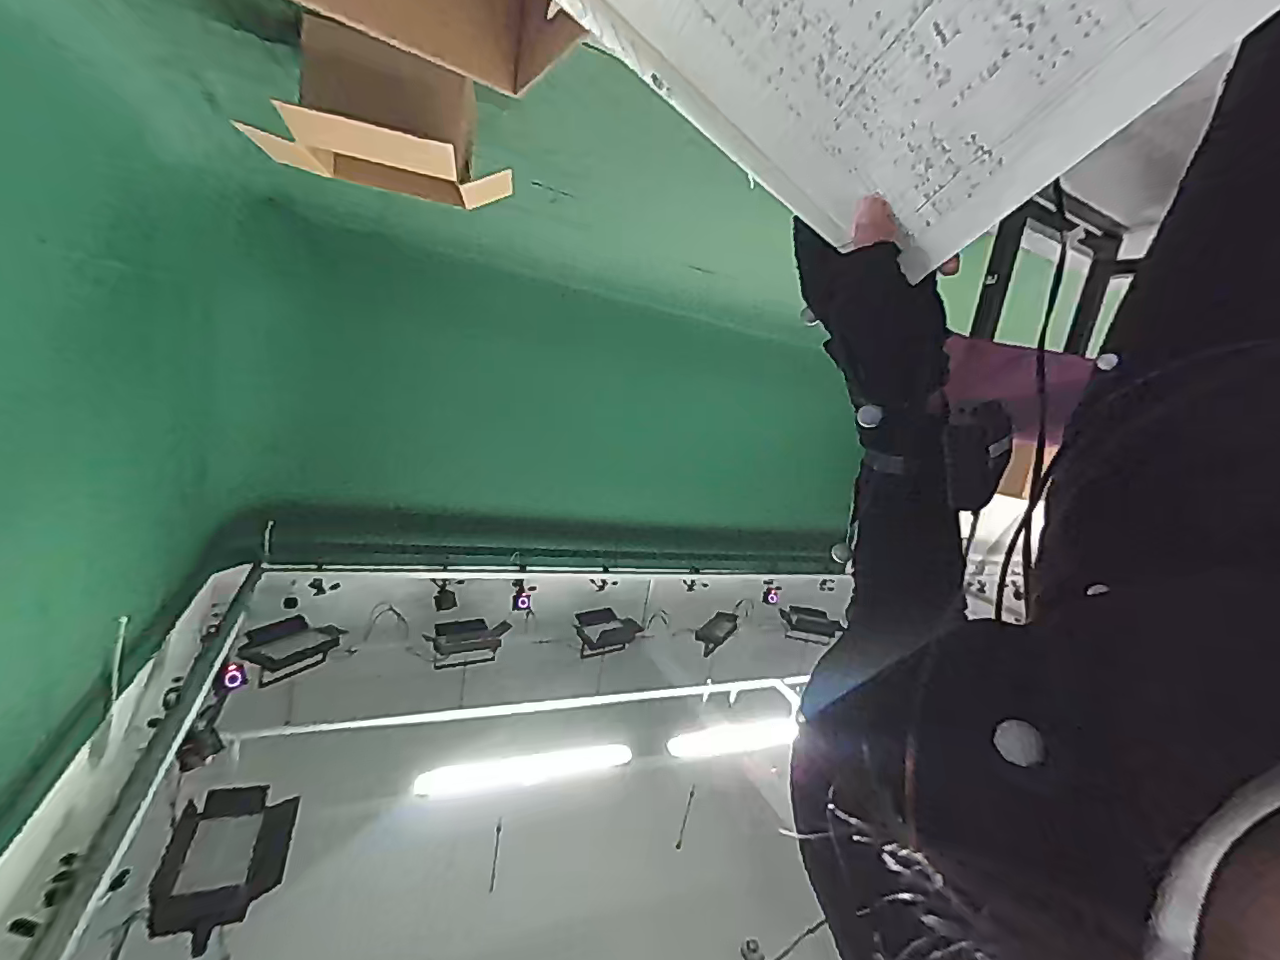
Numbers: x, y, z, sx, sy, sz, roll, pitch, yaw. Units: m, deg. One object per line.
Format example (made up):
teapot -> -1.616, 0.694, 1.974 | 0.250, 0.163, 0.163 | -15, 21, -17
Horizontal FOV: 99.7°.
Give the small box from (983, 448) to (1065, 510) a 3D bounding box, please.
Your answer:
small box -> 1.287, -0.005, 1.798 | 0.179, 0.176, 0.168 | 4, -169, -34
